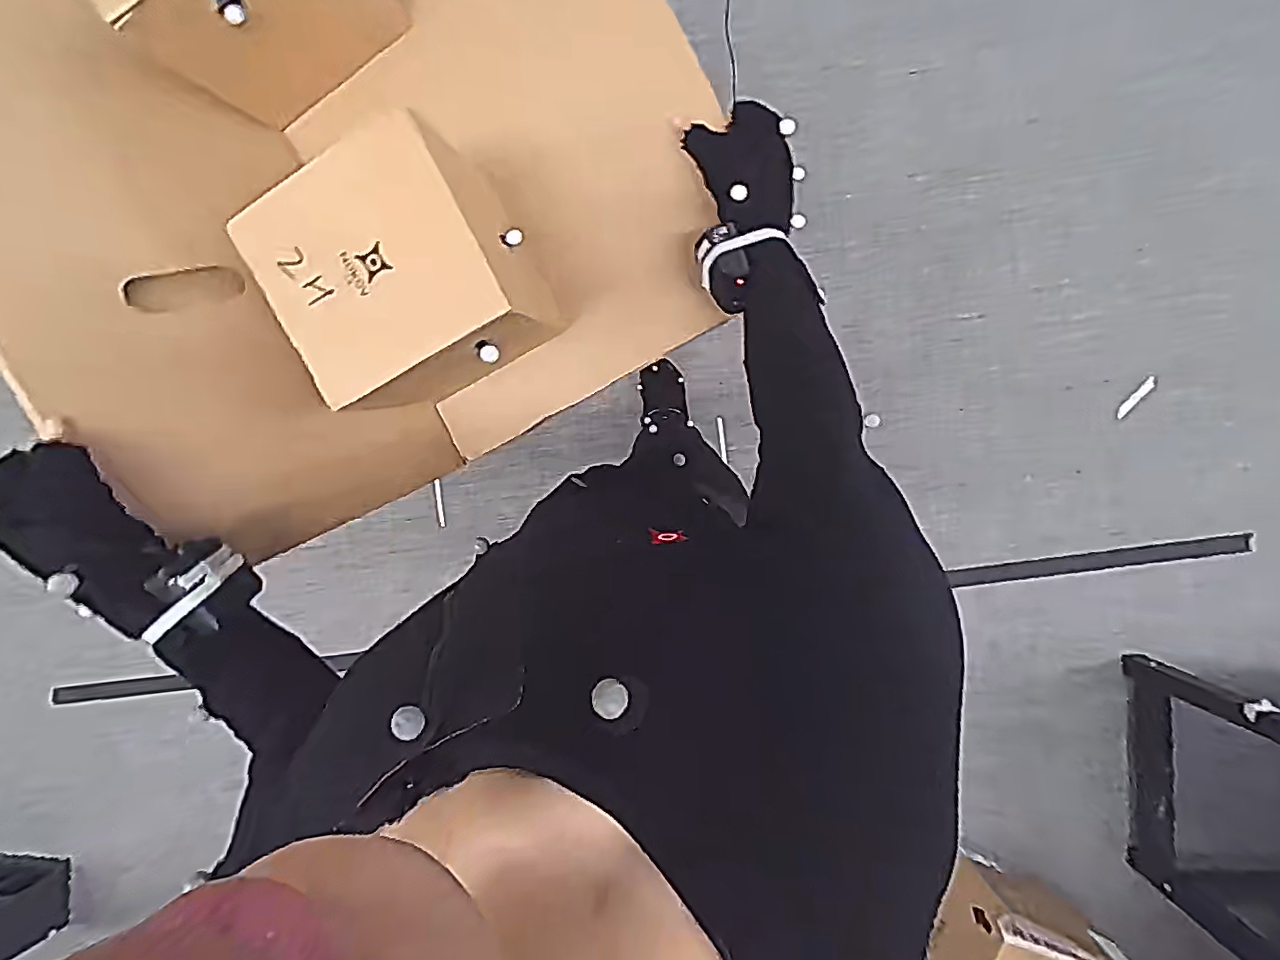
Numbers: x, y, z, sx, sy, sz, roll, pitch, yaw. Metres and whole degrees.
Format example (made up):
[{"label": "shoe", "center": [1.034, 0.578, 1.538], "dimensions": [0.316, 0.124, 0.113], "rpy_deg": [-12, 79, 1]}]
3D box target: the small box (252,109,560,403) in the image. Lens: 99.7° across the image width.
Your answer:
[{"label": "small box", "center": [-0.190, -0.184, 0.501], "dimensions": [0.179, 0.176, 0.168], "rpy_deg": [-25, 96, 12]}]
